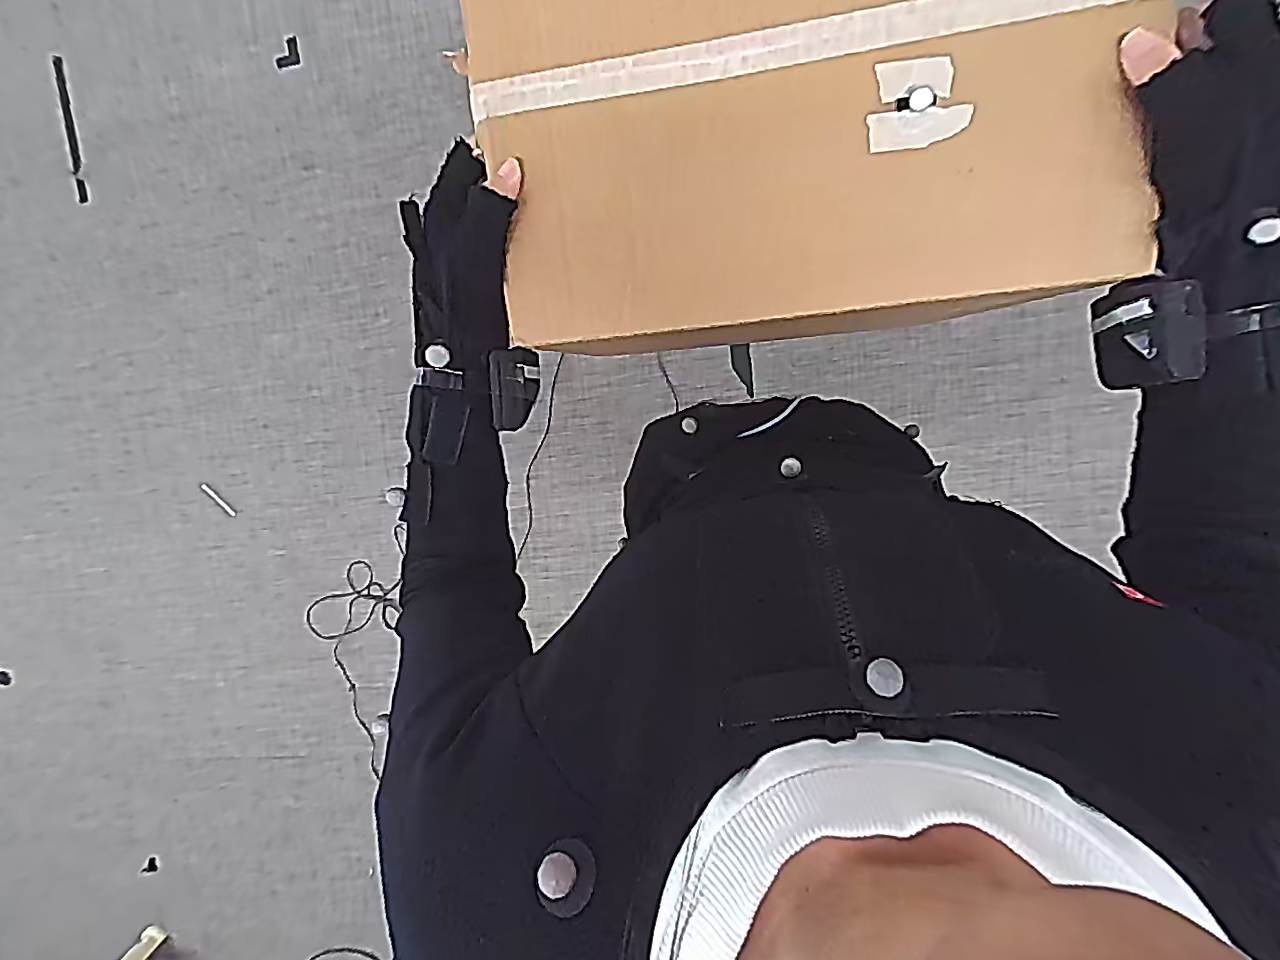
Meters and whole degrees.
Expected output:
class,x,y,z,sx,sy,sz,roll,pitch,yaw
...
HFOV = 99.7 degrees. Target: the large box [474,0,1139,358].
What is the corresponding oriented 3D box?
class,x,y,z,sx,sy,sz,roll,pitch,yaw
large box,0.109,-0.295,0.486,0.408,0.320,0.320,-5,101,7
